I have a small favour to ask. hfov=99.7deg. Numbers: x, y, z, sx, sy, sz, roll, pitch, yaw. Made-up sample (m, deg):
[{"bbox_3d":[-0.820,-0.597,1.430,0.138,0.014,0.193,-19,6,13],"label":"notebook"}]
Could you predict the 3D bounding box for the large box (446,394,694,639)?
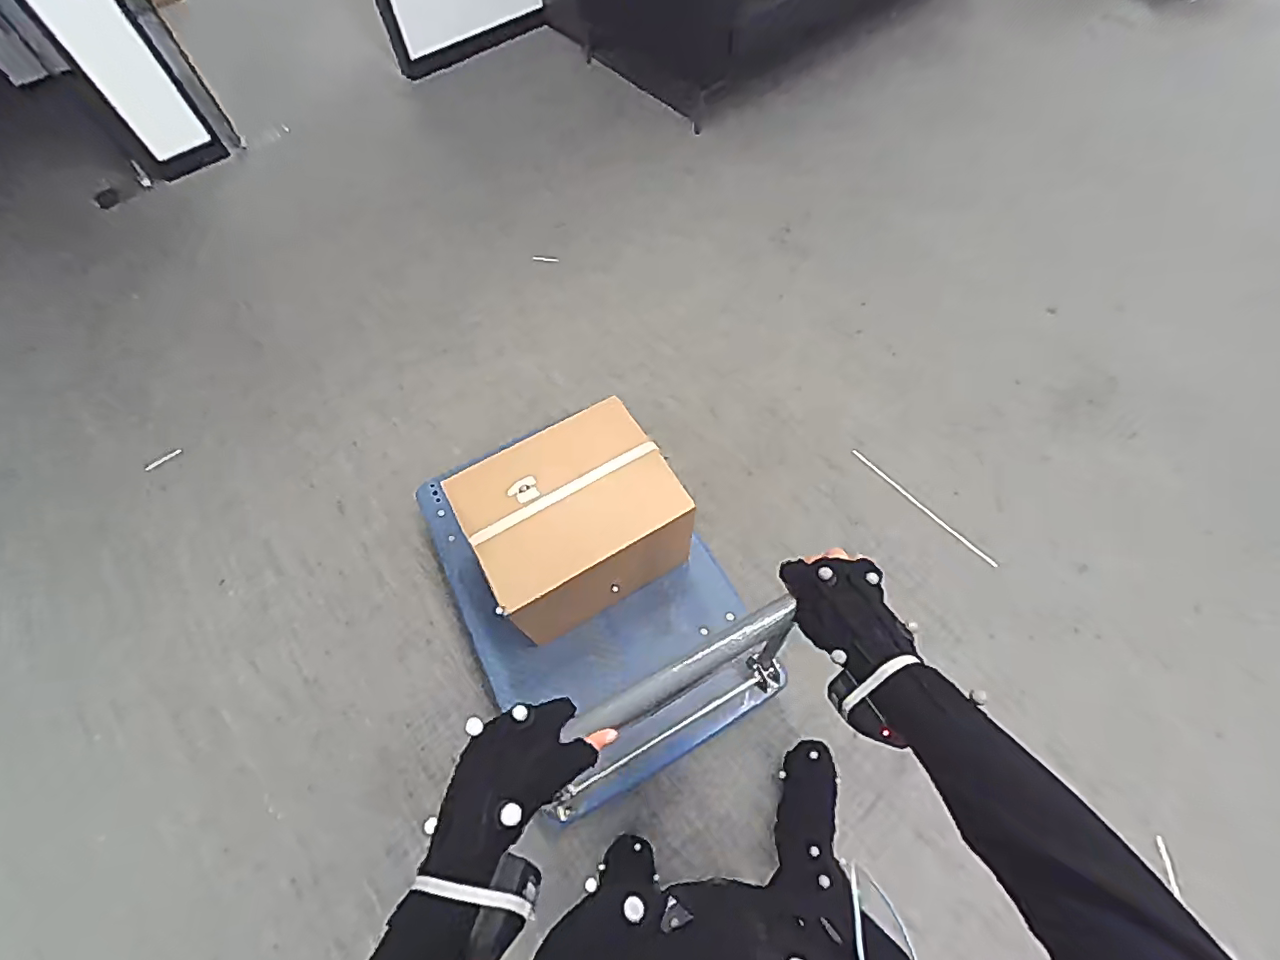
[{"bbox_3d":[-0.135,0.089,1.187,0.408,0.320,0.320,-29,66,-12],"label":"large box"}]
